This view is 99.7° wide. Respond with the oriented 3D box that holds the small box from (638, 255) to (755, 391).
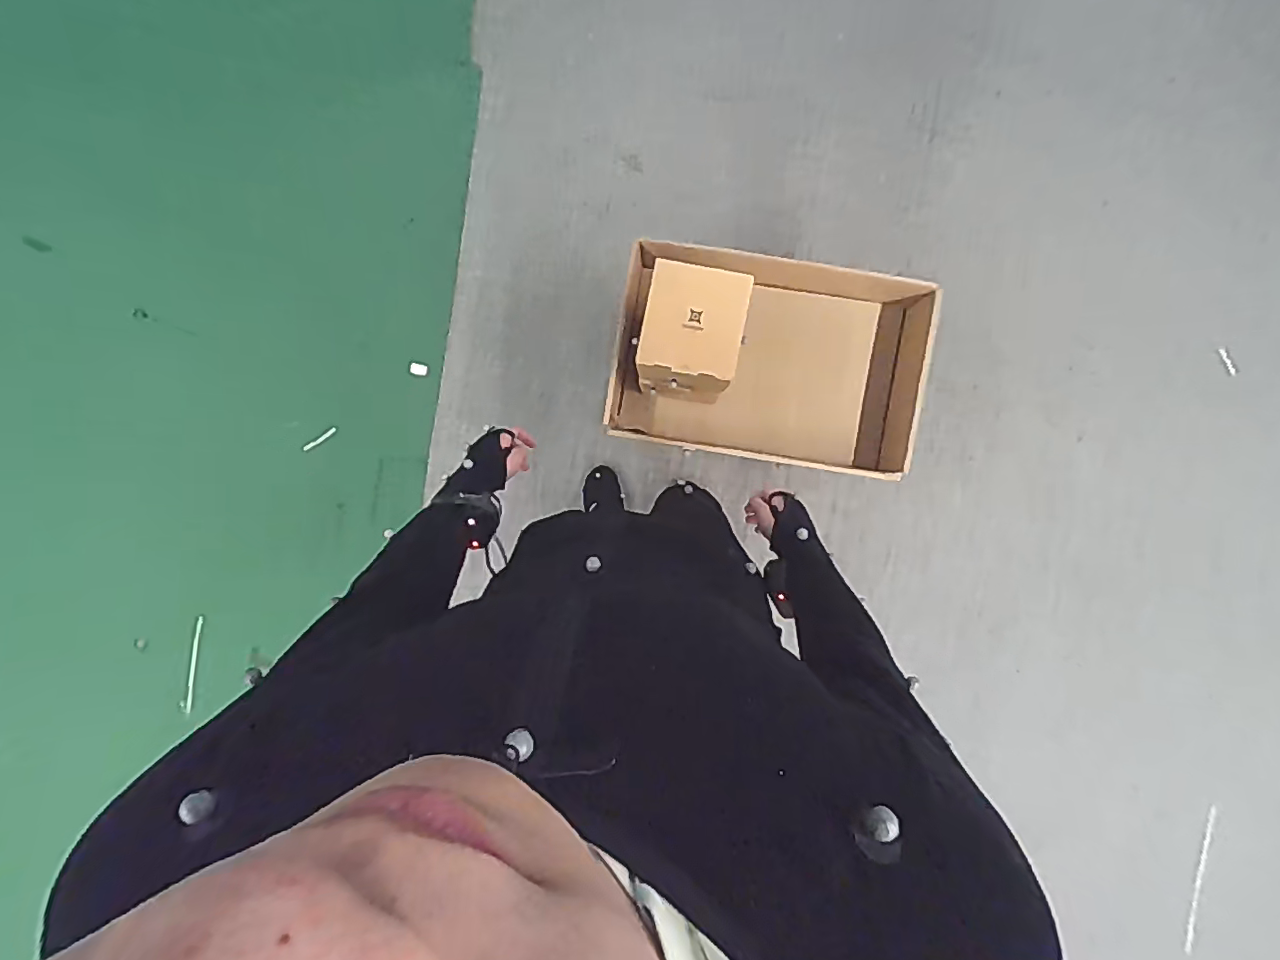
[{"bbox_3d":[0.092,-0.267,0.958,0.168,0.176,0.179,11,92,1],"label":"small box"}]
